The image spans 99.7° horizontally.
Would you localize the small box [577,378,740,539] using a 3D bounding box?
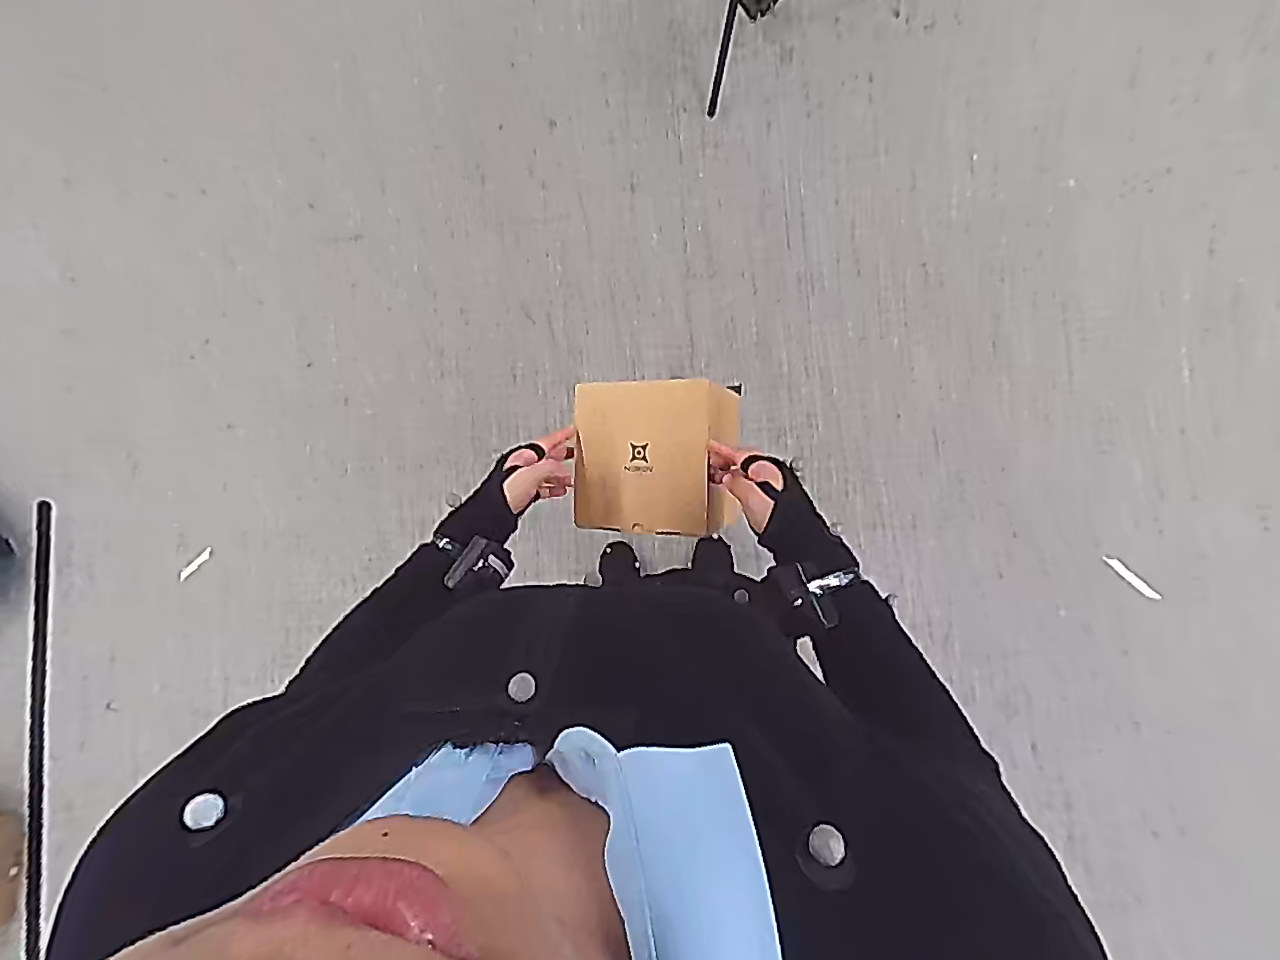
[{"bbox_3d":[0.031,-0.028,0.685,0.168,0.176,0.179,2,93,20],"label":"small box"}]
